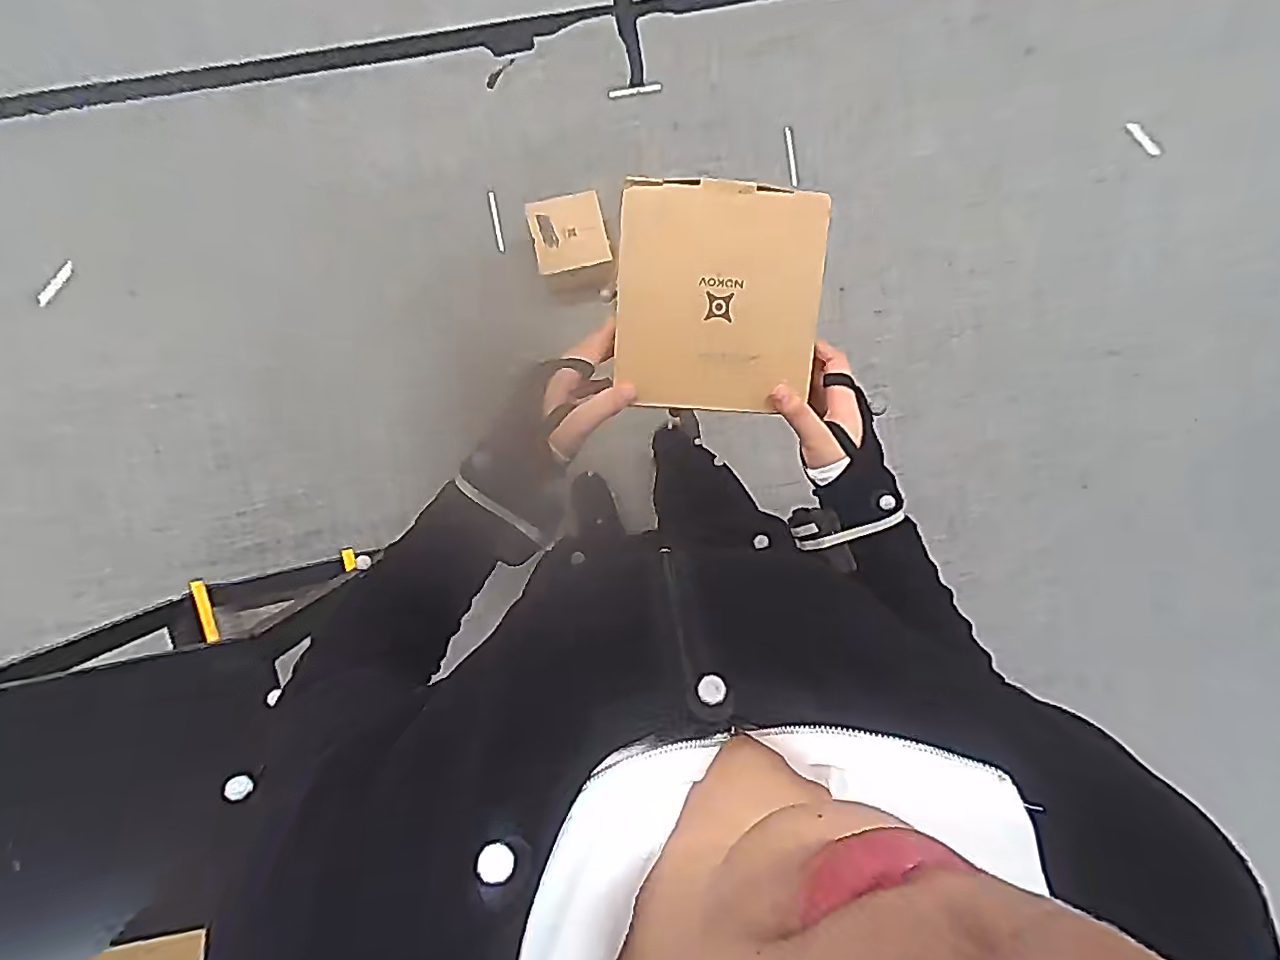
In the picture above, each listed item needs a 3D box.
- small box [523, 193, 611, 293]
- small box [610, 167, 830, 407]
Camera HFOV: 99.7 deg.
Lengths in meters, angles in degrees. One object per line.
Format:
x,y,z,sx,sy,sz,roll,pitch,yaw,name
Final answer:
-0.175,-0.578,1.341,0.179,0.176,0.168,-14,96,-3,small box
0.059,-0.166,0.513,0.168,0.176,0.179,3,102,-4,small box
